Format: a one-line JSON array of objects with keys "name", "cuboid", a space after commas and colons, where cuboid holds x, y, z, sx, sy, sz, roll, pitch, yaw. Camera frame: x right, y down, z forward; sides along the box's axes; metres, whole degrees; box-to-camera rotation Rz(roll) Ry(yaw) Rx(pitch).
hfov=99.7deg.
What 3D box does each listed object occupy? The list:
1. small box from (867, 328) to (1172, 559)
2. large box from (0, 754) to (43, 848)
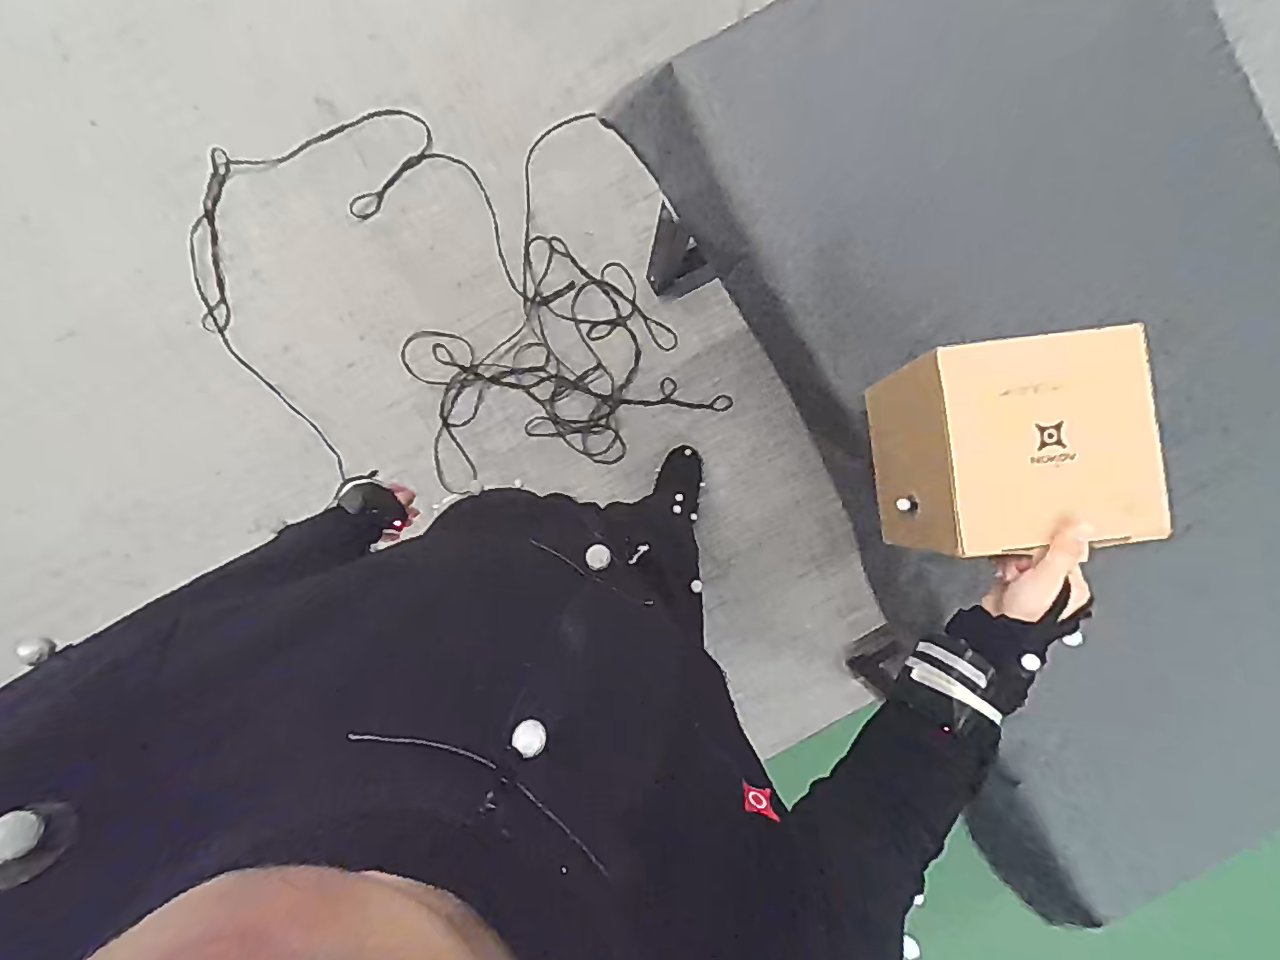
[{"name": "small box", "cuboid": [0.339, -0.026, 0.520, 0.168, 0.176, 0.179, -7, 86, 2]}, {"name": "large box", "cuboid": [-1.666, 0.735, 1.154, 0.320, 0.320, 0.408, -29, 93, -3]}]
